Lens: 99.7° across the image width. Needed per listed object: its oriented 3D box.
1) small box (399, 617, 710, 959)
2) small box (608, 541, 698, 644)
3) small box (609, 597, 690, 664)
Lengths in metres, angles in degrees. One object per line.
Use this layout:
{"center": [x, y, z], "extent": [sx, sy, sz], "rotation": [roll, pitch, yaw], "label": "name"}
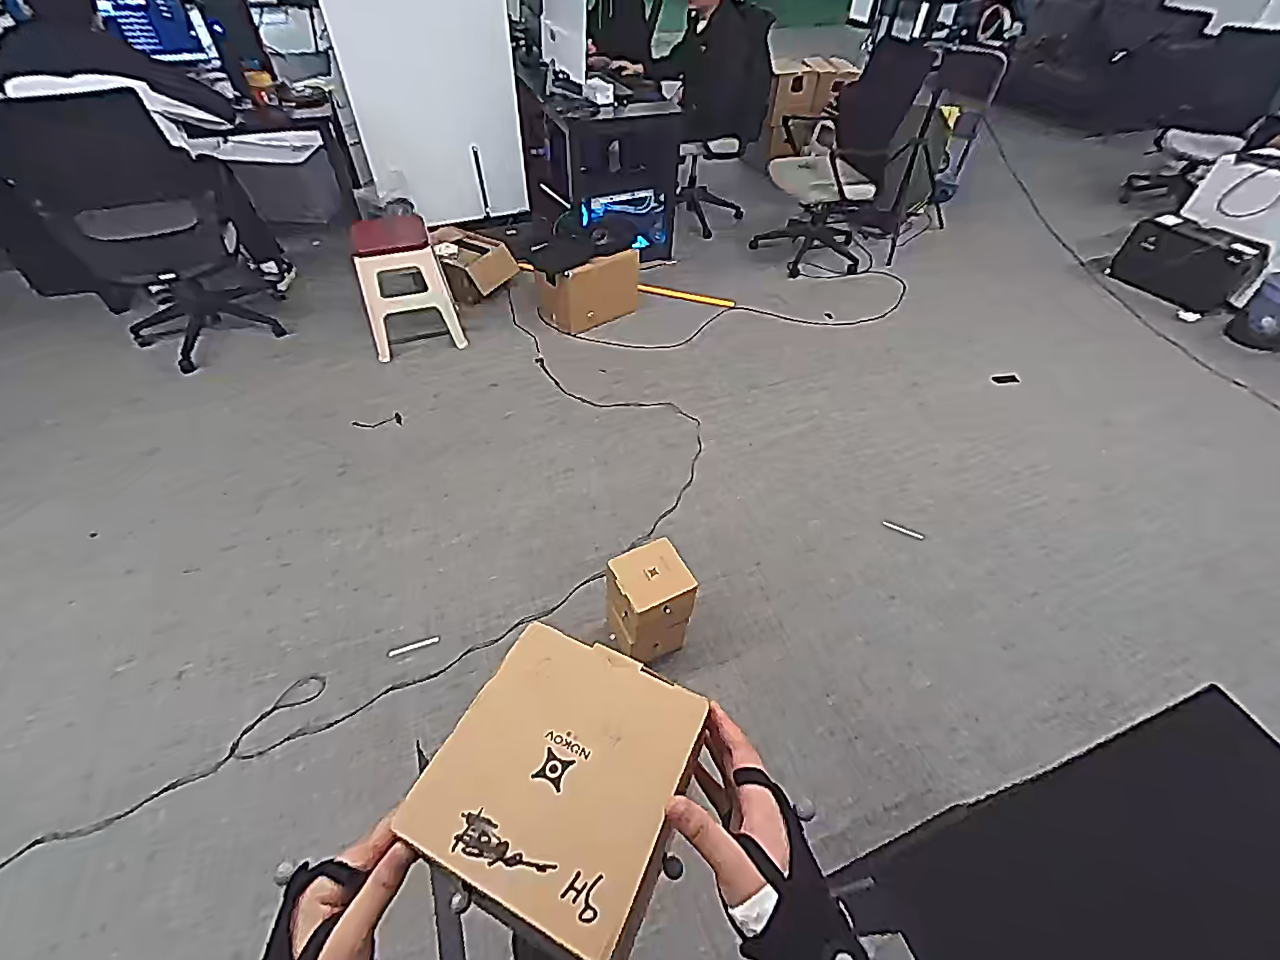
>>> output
{"center": [-0.054, 0.253, 0.444], "extent": [0.168, 0.176, 0.179], "rotation": [17, 45, 20], "label": "small box"}
{"center": [0.030, 0.296, 1.402], "extent": [0.179, 0.176, 0.168], "rotation": [-20, 53, -21], "label": "small box"}
{"center": [0.021, 0.407, 1.520], "extent": [0.179, 0.176, 0.168], "rotation": [-19, 51, -17], "label": "small box"}
